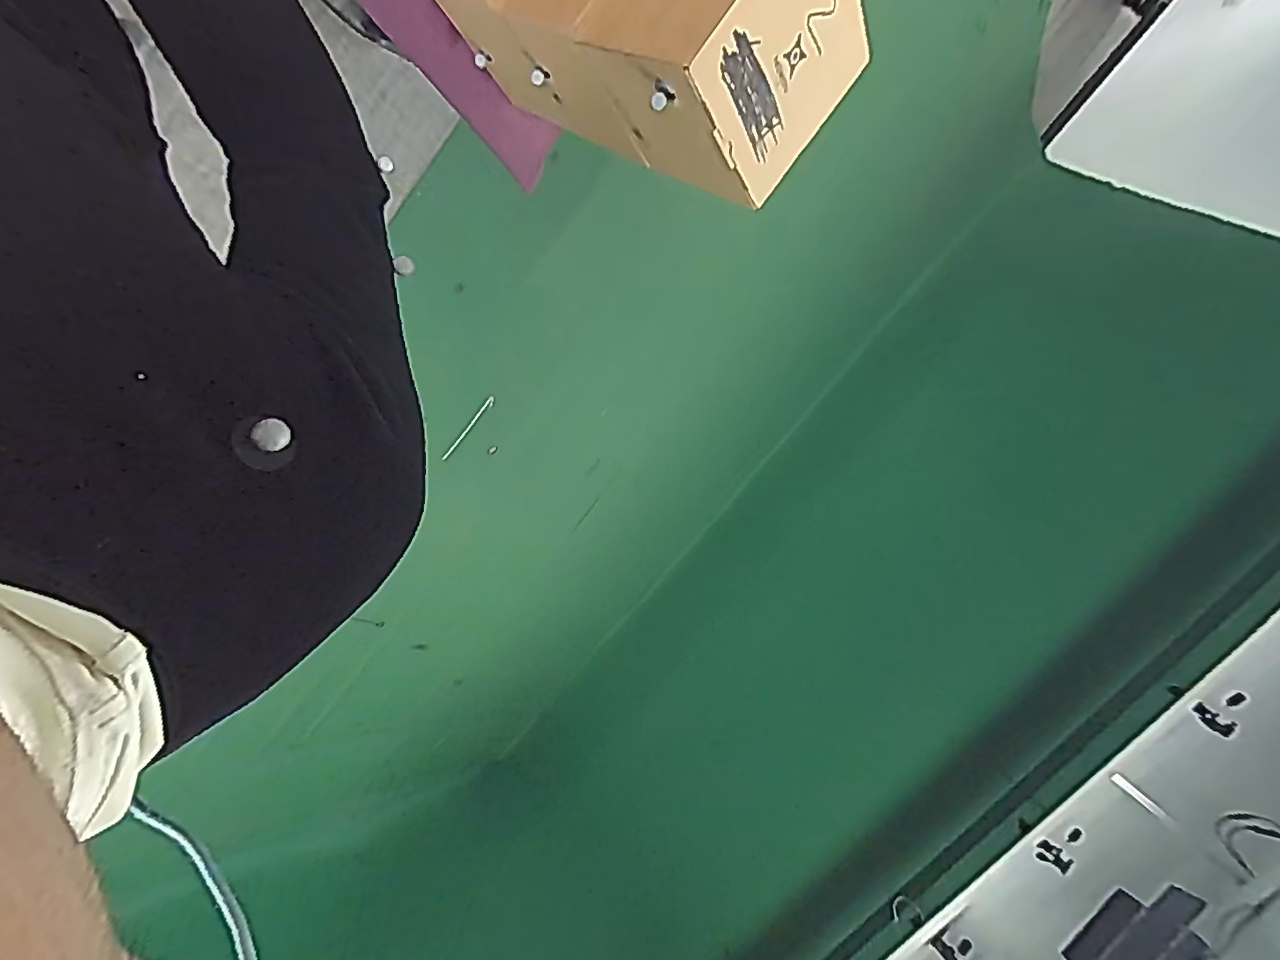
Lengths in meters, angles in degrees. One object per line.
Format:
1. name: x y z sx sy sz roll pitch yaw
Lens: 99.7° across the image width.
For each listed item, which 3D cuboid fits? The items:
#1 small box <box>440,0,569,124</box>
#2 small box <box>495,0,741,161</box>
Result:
1. small box: -0.129 -0.603 0.678 0.168 0.176 0.179 -49 150 5
2. small box: -0.025 -0.507 0.597 0.179 0.176 0.168 -49 148 6
